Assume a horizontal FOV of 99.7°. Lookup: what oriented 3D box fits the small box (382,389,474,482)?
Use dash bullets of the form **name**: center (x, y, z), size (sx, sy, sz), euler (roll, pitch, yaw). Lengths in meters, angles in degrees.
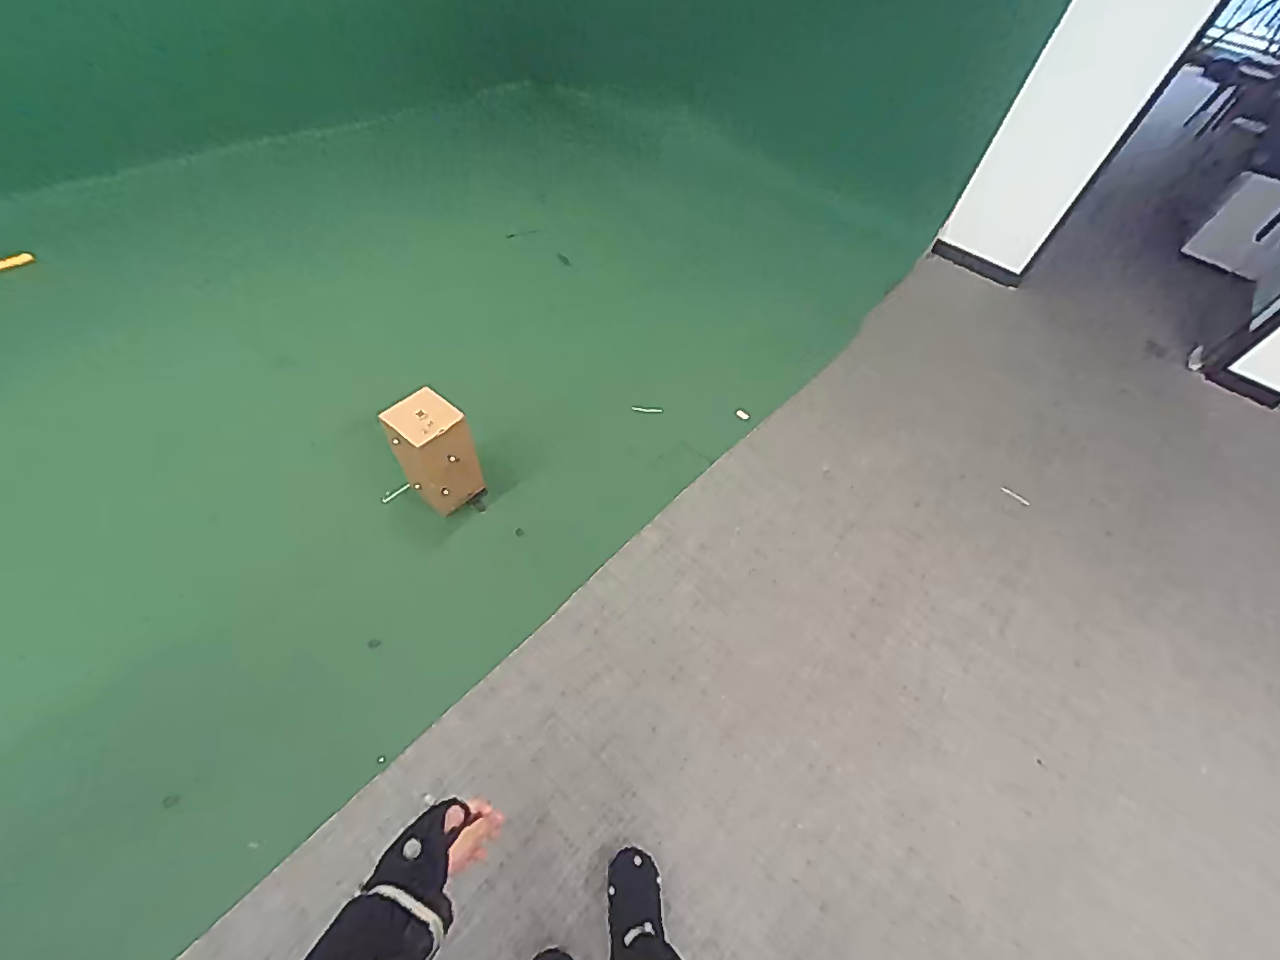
- **small box**: center (-0.610, -0.126, 1.574), size (0.179, 0.176, 0.168), euler (35, 58, 19)
